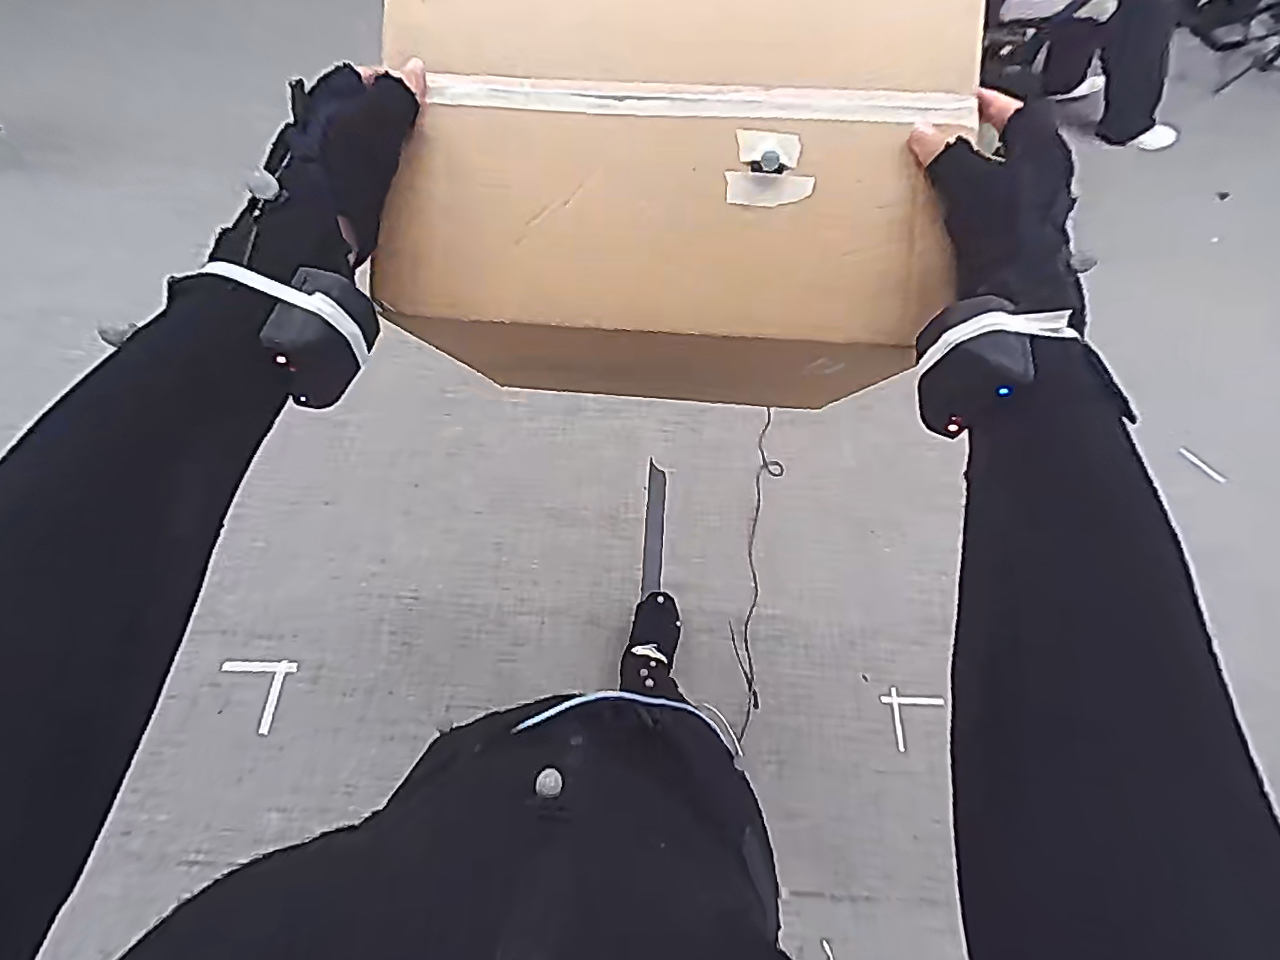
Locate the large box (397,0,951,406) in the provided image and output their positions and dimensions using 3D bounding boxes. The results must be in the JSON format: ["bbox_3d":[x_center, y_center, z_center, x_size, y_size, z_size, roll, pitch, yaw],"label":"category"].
[{"bbox_3d":[0.025,-0.254,0.545,0.408,0.320,0.320,3,91,1],"label":"large box"}]
